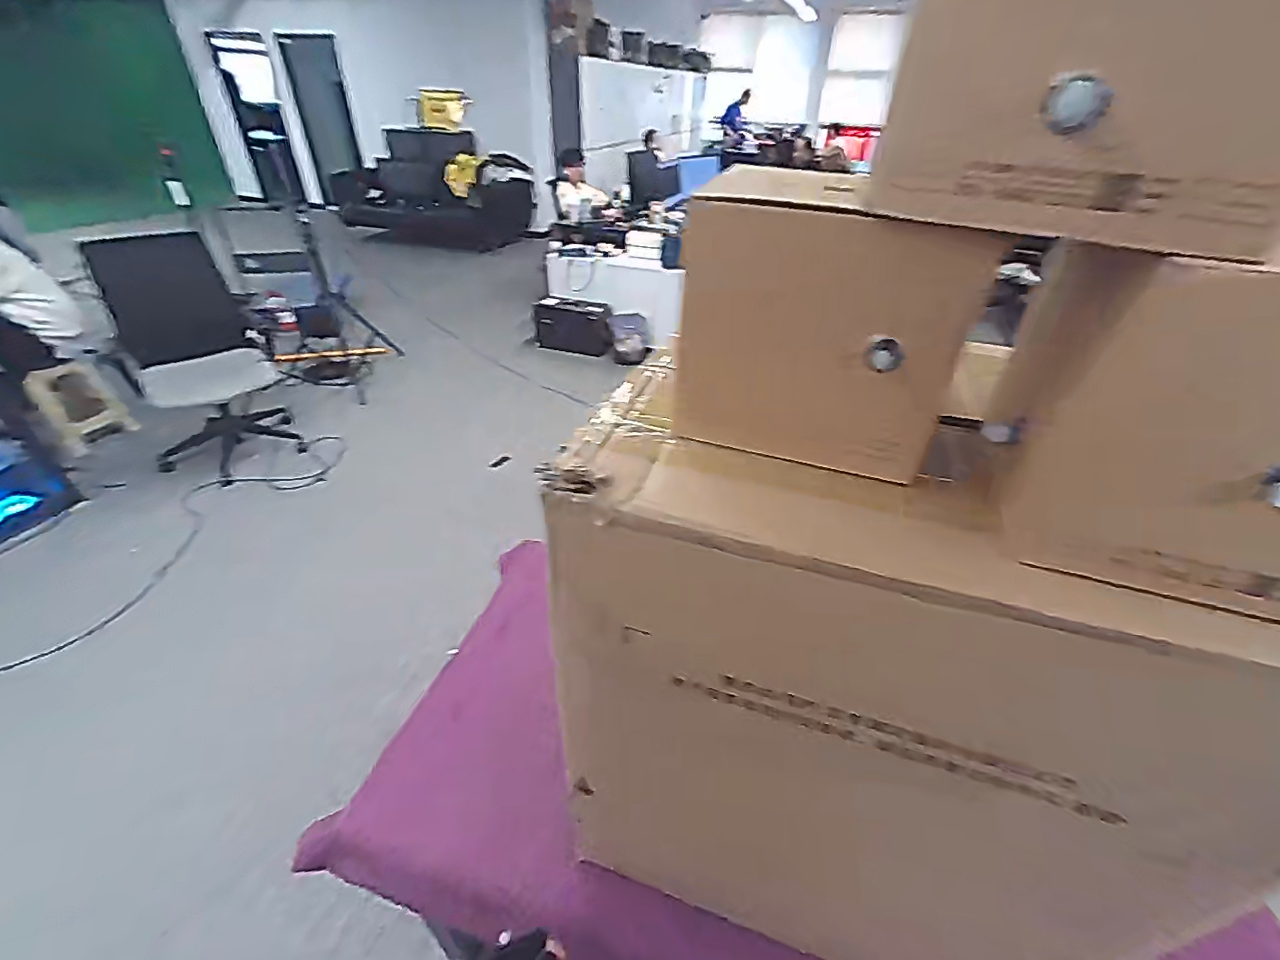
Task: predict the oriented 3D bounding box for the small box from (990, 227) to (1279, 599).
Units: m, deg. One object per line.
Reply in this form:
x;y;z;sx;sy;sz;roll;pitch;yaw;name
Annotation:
0.328;-0.054;0.308;0.168;0.176;0.179;13;37;17;small box

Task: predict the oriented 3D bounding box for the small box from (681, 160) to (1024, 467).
0.138;-0.128;0.403;0.179;0.176;0.168;12;36;14;small box

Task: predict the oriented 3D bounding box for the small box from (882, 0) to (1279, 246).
0.237;-0.226;0.263;0.168;0.176;0.179;21;40;25;small box
